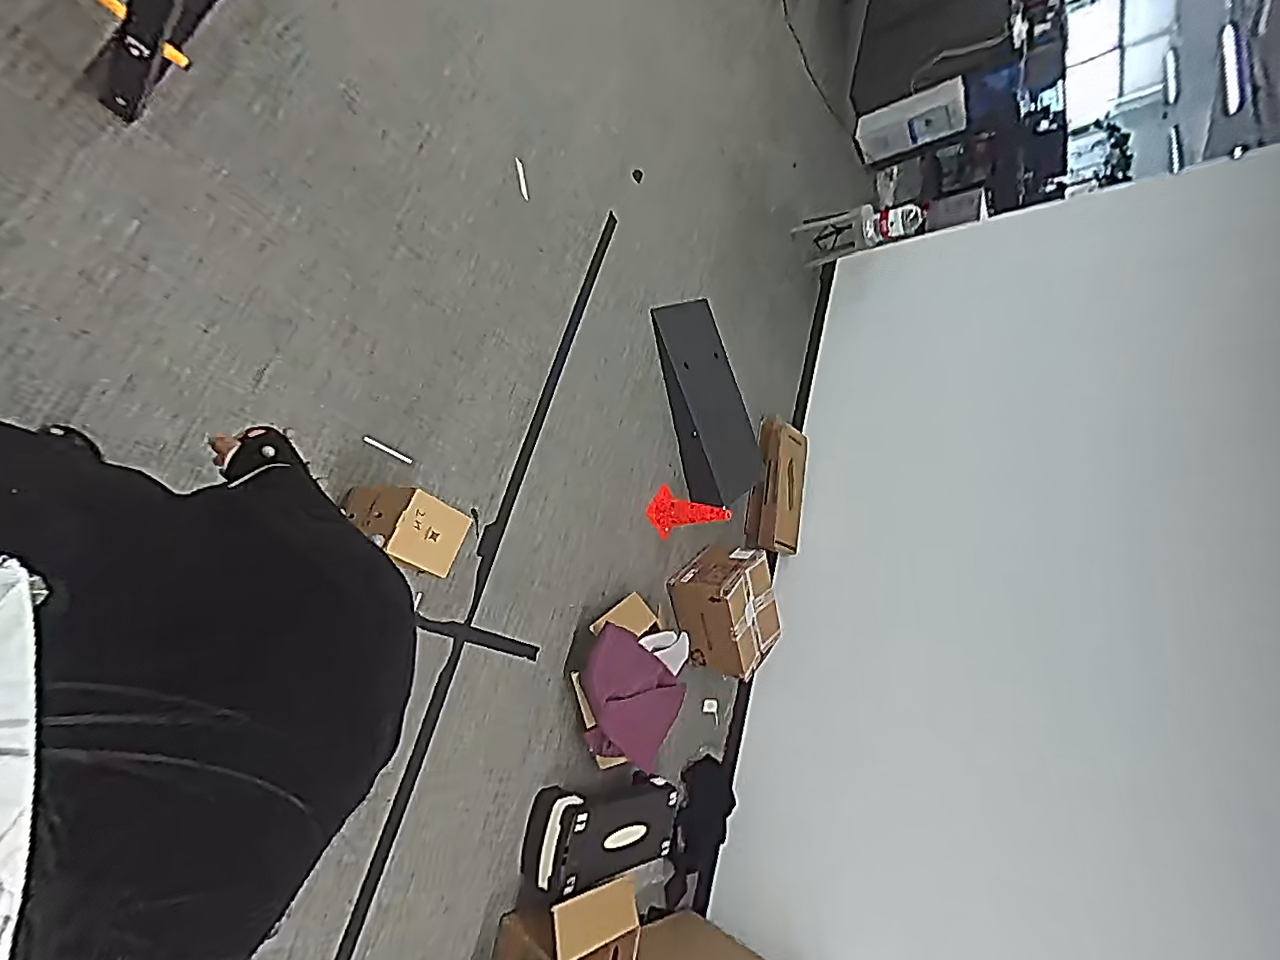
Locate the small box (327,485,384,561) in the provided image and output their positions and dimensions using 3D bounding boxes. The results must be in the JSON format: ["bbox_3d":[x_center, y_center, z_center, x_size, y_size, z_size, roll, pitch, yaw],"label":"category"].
[{"bbox_3d":[-0.705,0.123,1.458,0.179,0.176,0.168,34,64,-44],"label":"small box"}]

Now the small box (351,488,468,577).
[{"bbox_3d":[-0.576,0.127,1.354,0.179,0.176,0.168,41,59,-42],"label":"small box"}]
